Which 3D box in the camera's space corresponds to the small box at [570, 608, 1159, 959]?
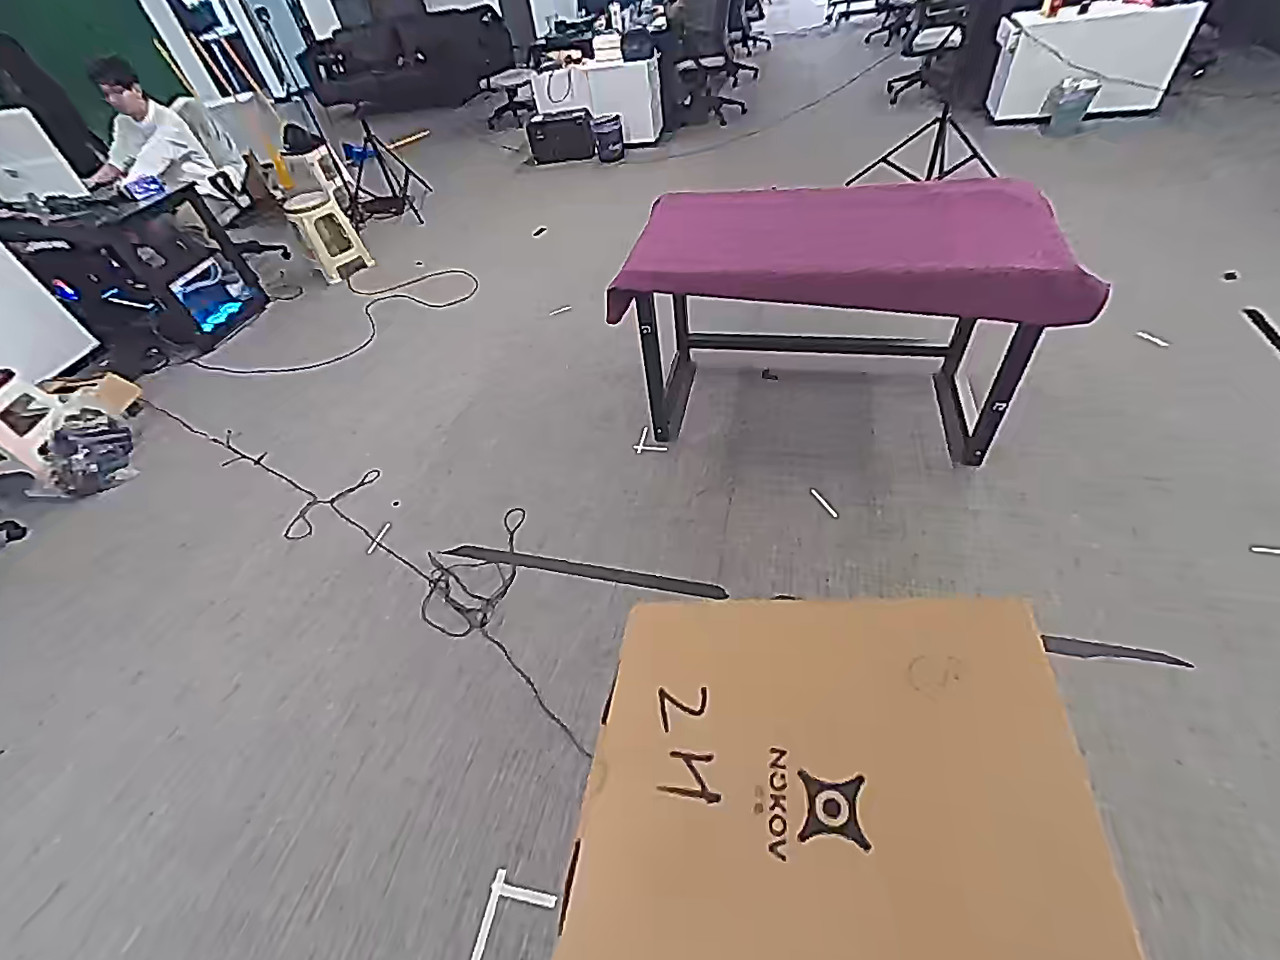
[{"bbox_3d":[0.091,0.174,0.249,0.179,0.176,0.168,-6,45,21],"label":"small box"}]
